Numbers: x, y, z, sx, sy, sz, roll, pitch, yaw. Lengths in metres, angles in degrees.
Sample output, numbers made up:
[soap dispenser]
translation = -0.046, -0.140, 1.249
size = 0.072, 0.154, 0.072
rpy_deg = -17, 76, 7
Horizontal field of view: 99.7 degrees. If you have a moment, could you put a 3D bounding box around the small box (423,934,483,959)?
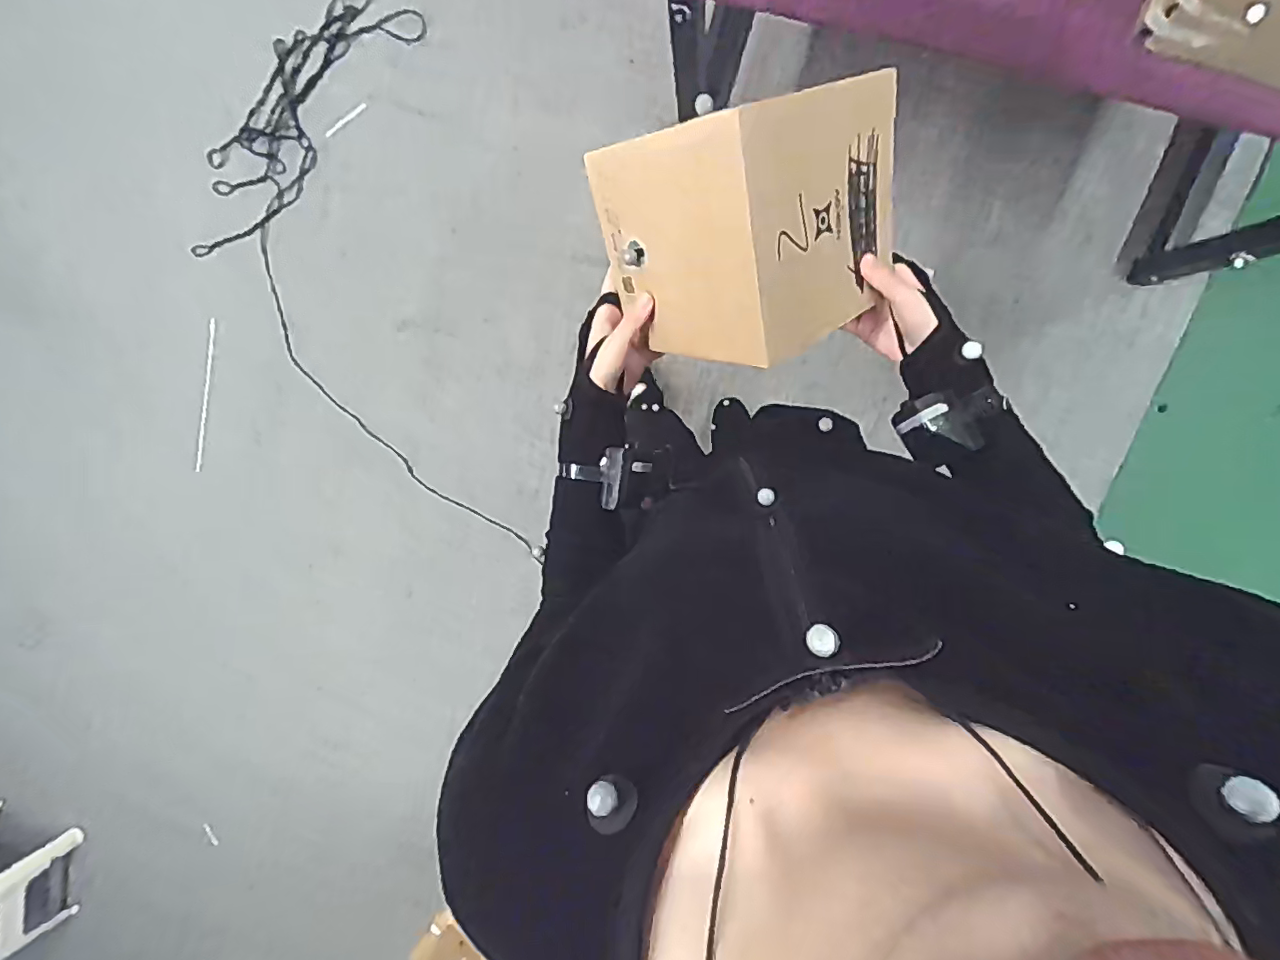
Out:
[small box]
translation = -0.518, 1.345, 1.396
size = 0.168, 0.176, 0.179
rpy_deg = 35, 103, 0
